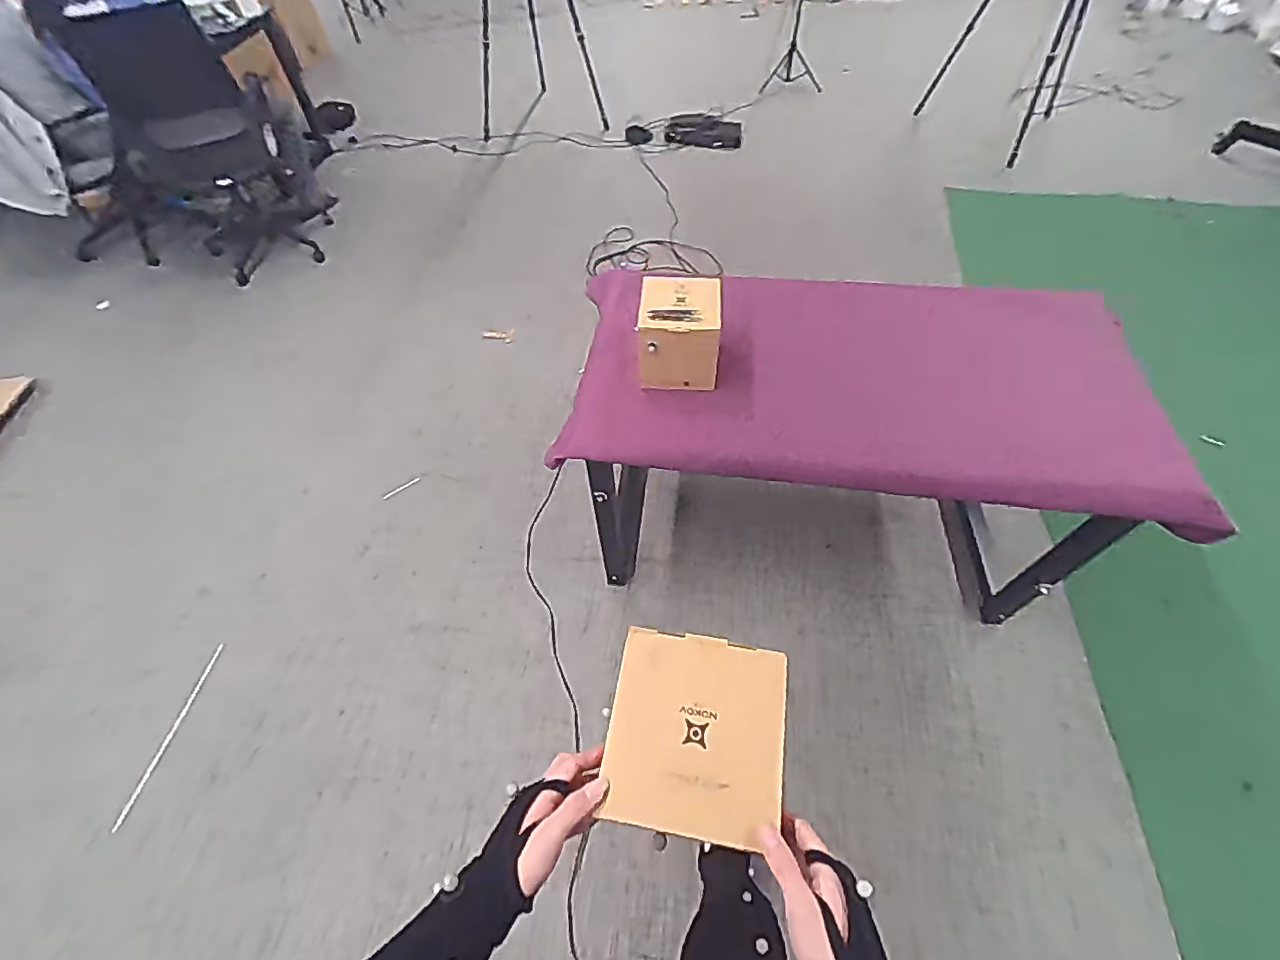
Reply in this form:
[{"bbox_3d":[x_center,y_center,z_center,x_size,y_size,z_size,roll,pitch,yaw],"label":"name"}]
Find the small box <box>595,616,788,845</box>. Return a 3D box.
[{"bbox_3d":[0.055,0.271,0.584,0.168,0.176,0.179,9,59,7],"label":"small box"}]
